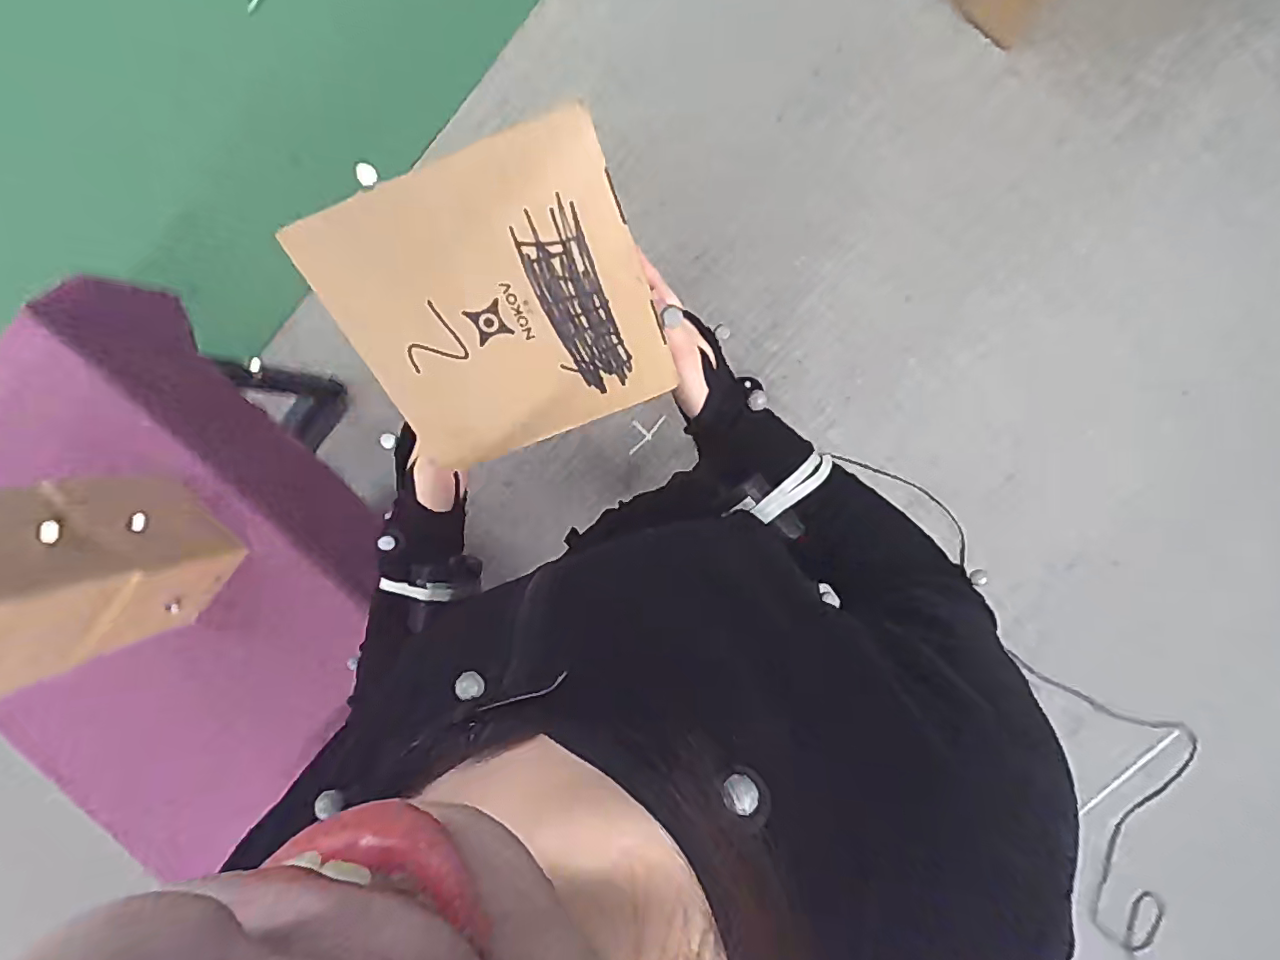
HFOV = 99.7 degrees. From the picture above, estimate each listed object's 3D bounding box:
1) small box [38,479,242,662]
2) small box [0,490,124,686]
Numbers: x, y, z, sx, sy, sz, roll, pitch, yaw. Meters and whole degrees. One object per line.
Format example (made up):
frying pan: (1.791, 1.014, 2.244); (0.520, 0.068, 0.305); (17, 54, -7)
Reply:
small box: (-0.725, 0.112, 0.763); (0.179, 0.176, 0.168); (42, 97, 2)
small box: (-0.748, 0.129, 0.601); (0.168, 0.176, 0.179); (40, 96, 2)
